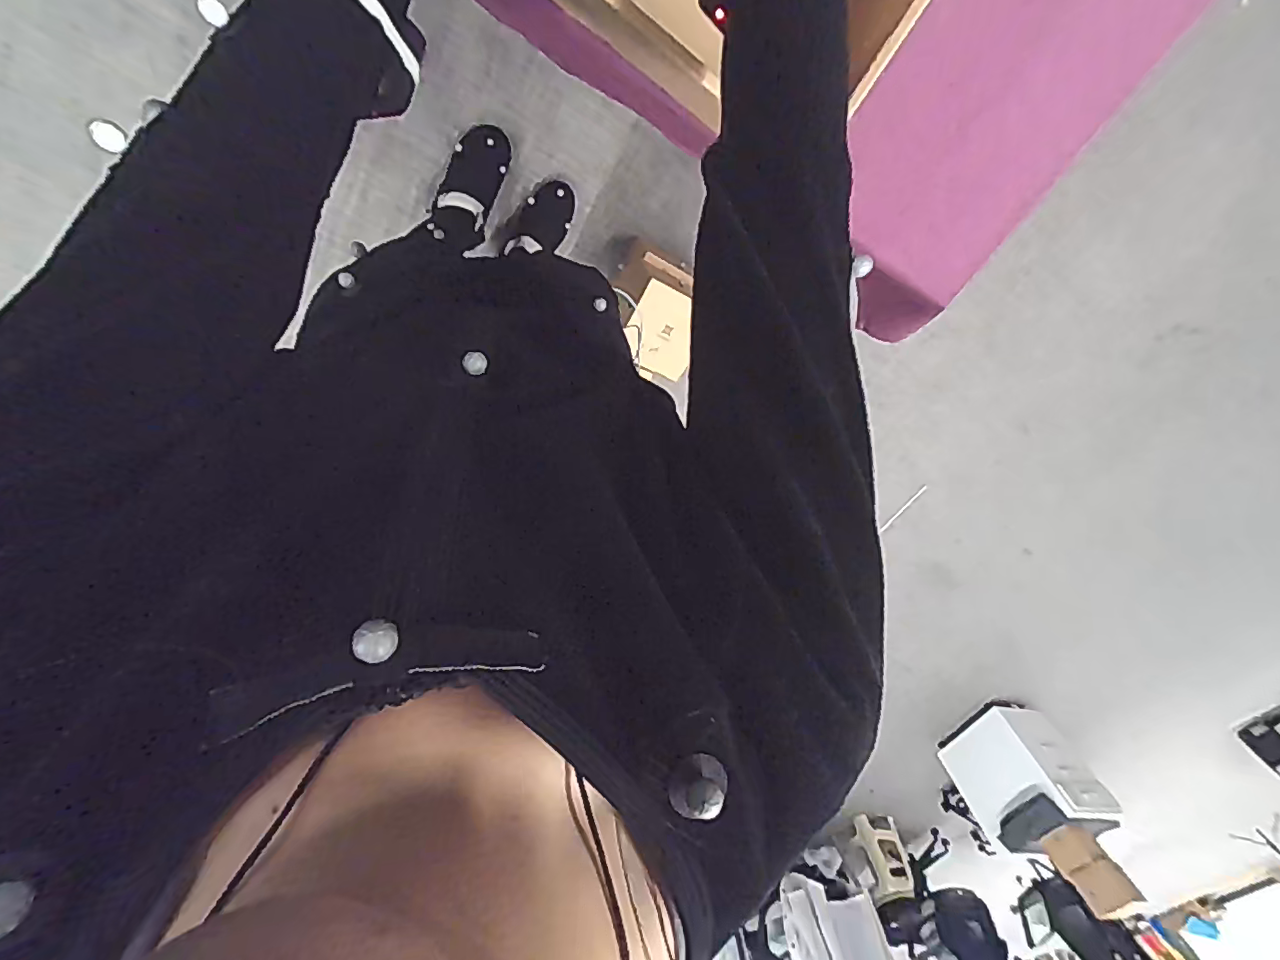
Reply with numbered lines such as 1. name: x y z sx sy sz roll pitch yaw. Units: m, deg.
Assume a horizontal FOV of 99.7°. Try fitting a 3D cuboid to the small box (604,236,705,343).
1. small box: 0.029 -0.471 1.325 0.179 0.176 0.168 22 119 -24
